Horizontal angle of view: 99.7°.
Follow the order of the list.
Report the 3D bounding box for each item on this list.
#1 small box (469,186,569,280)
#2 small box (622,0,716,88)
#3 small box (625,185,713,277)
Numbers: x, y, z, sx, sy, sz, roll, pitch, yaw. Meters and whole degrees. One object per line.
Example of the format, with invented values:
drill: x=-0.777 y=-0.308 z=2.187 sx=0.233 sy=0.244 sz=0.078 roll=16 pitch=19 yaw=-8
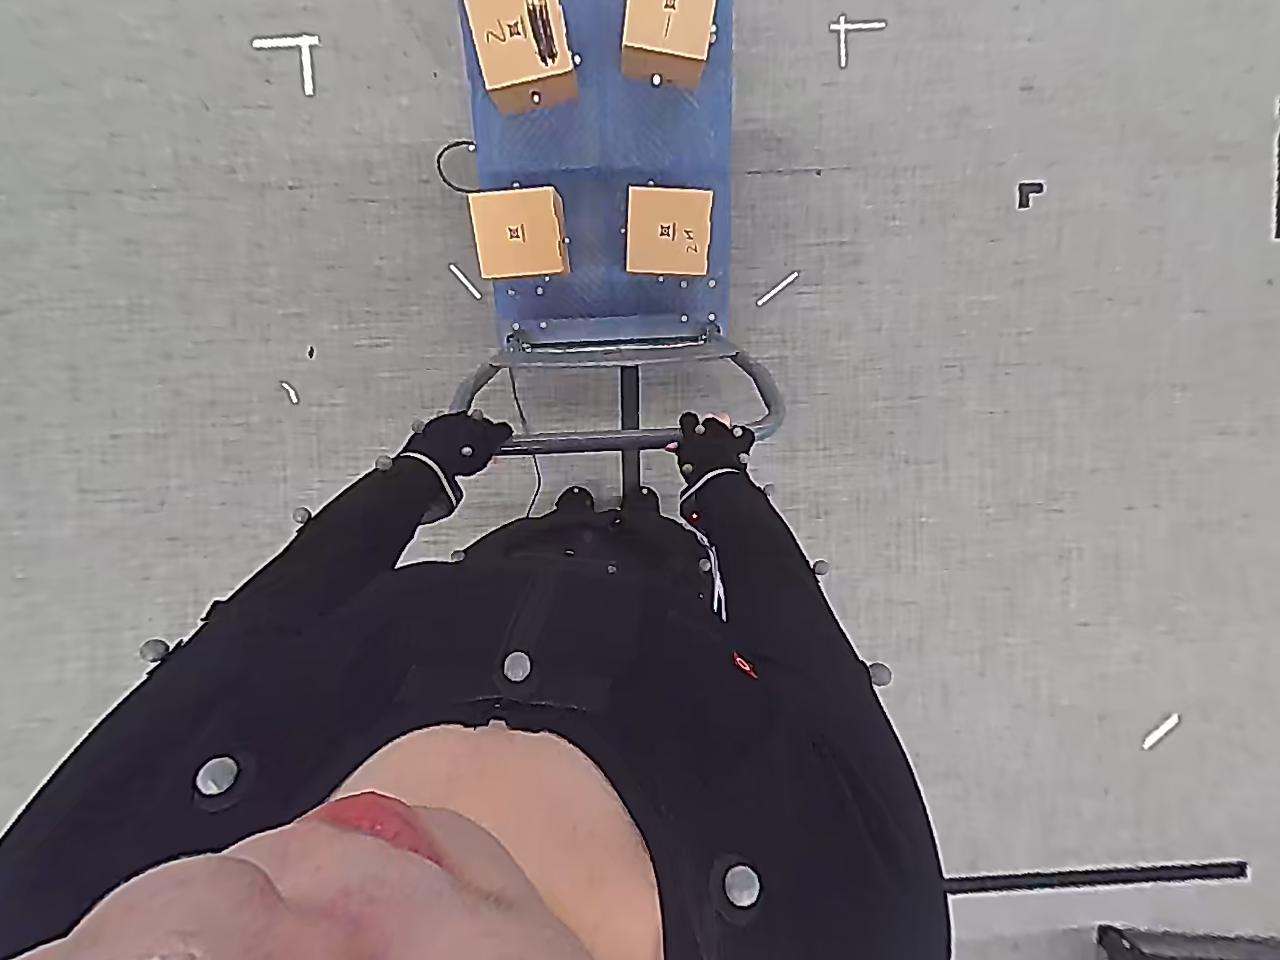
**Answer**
small box: x=-0.259 y=-0.537 z=1.195 sx=0.179 sy=0.176 sz=0.168 roll=-6 pitch=109 yaw=-2
small box: x=0.056 y=-0.920 z=1.073 sx=0.168 sy=0.176 sz=0.179 roll=7 pitch=110 yaw=-5
small box: x=0.058 y=-0.545 z=1.204 sx=0.179 sy=0.176 sz=0.168 roll=2 pitch=110 yaw=-3
